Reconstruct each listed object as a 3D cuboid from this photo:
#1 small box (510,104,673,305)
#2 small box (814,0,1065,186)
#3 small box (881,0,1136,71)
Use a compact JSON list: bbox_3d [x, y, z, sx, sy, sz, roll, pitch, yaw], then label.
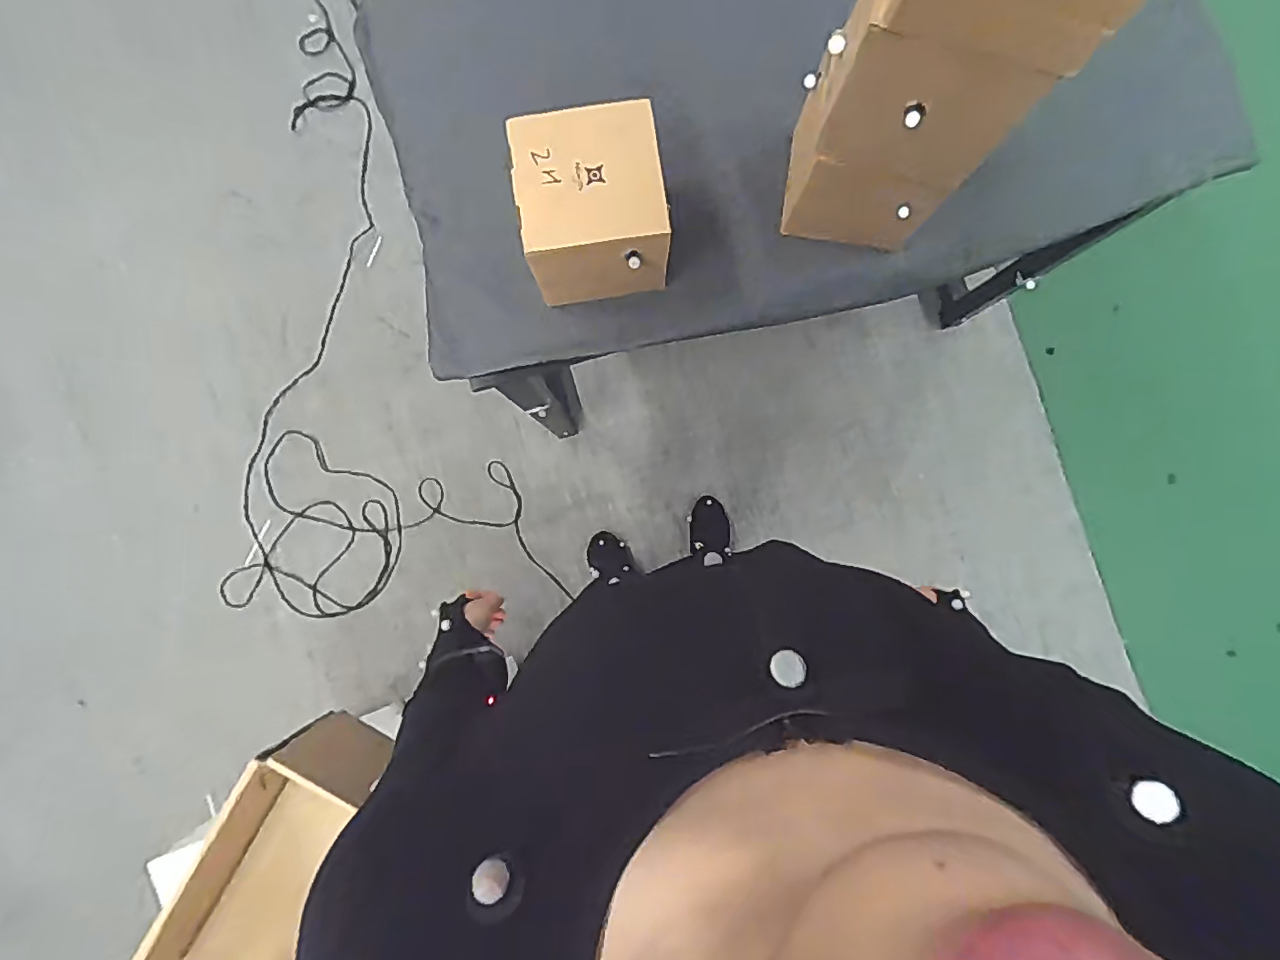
[{"bbox_3d":[-0.057,-0.348,0.713,0.179,0.176,0.168,-8,87,1],"label":"small box"},{"bbox_3d":[0.302,-0.434,0.547,0.179,0.176,0.168,17,87,3],"label":"small box"},{"bbox_3d":[0.302,-0.443,0.385,0.179,0.176,0.168,16,86,1],"label":"small box"}]
